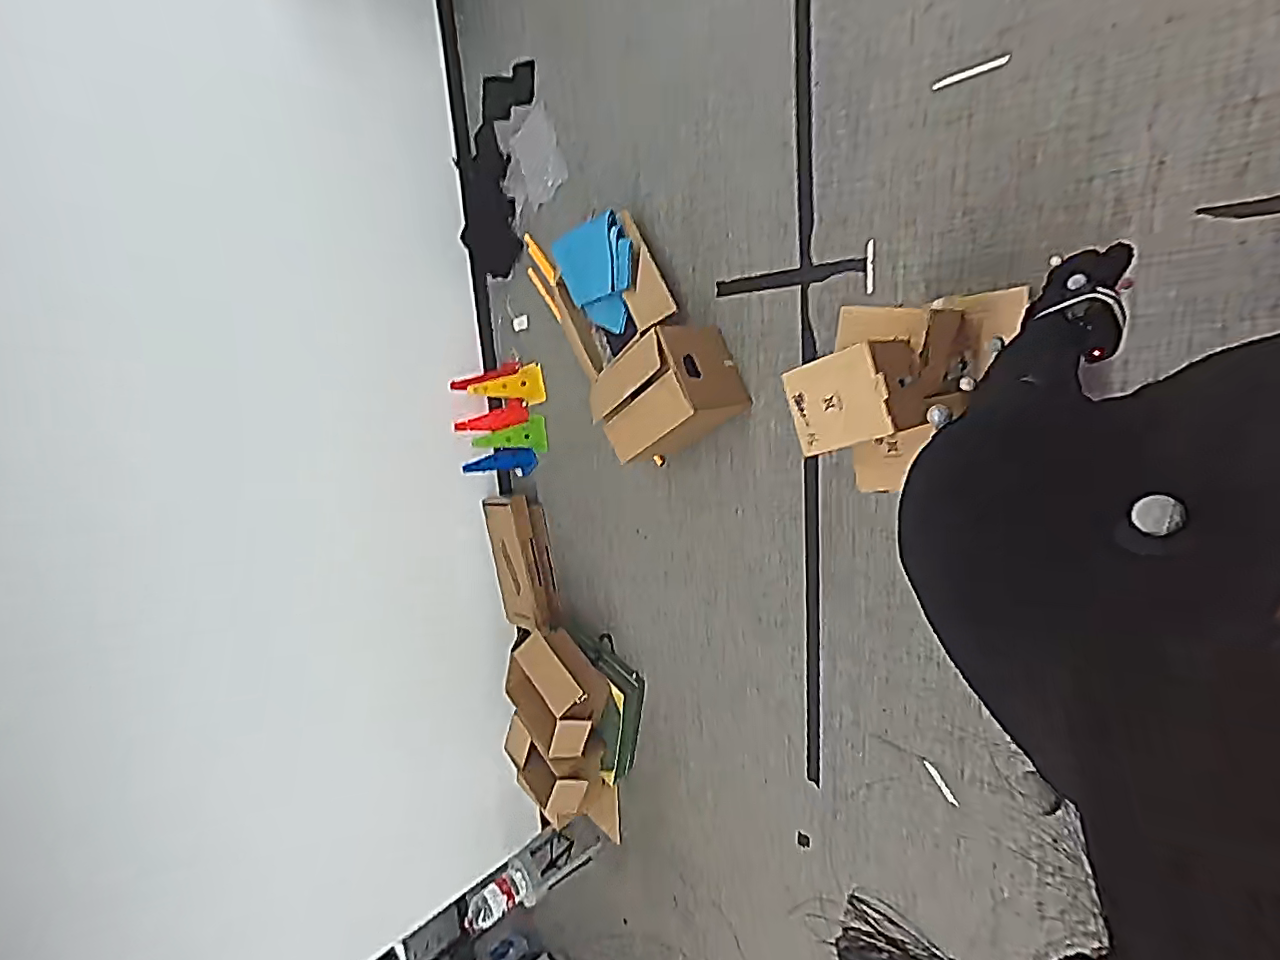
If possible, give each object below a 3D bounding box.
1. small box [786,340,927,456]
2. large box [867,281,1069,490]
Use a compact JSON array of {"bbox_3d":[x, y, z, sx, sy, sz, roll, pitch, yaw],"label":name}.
[{"bbox_3d":[0.407,-0.154,1.004,0.179,0.176,0.168,-17,88,48],"label":"small box"},{"bbox_3d":[0.748,-0.201,1.230,0.320,0.320,0.408,2,102,47],"label":"large box"}]
